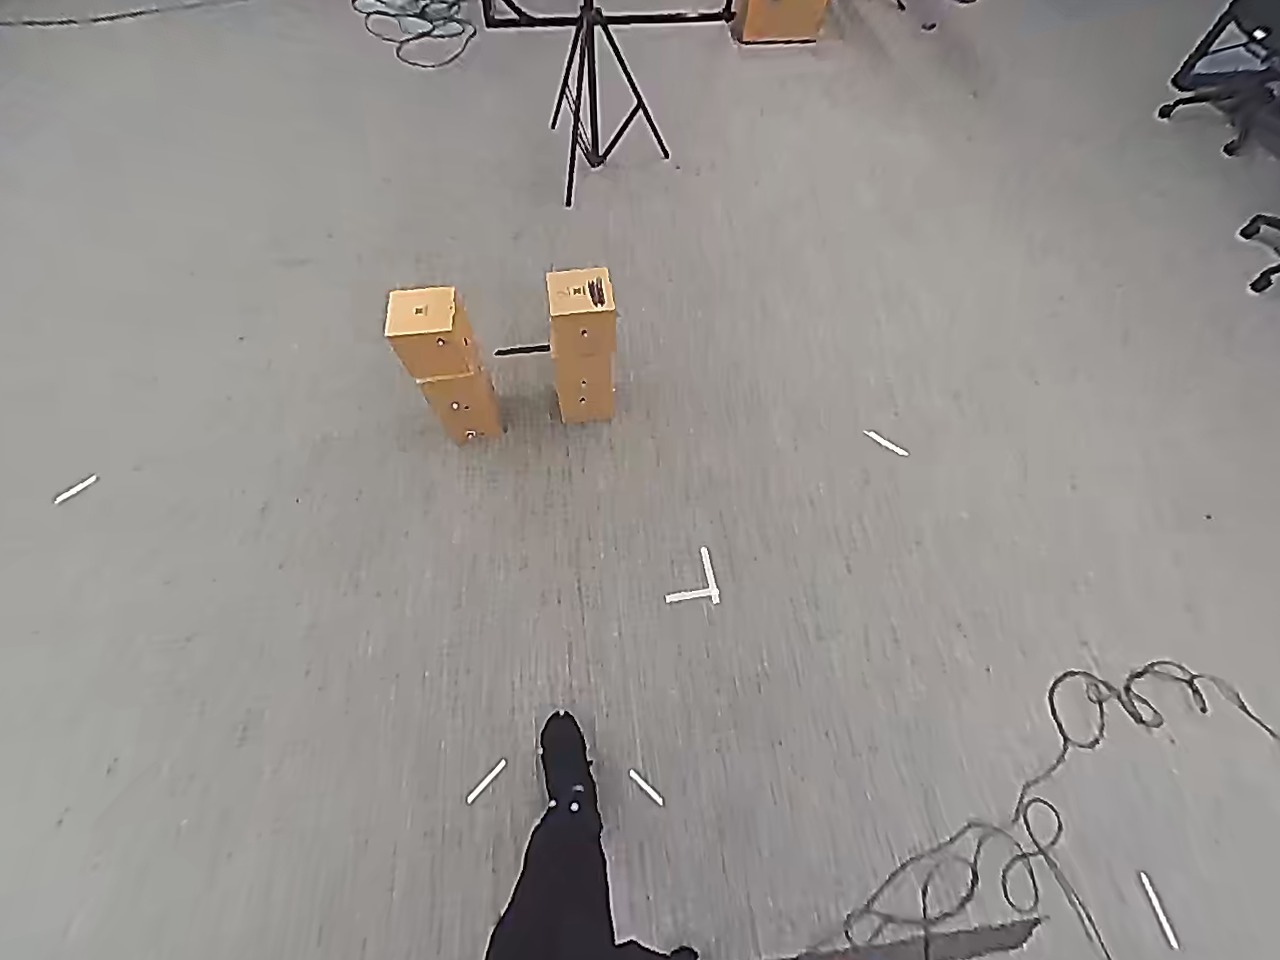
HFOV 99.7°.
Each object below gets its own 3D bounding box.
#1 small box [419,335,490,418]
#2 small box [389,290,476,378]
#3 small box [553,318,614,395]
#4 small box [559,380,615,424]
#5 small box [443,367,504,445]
[{"bbox_3d":[-0.557,-0.313,1.633,0.168,0.176,0.179,-10,63,-6],"label":"small box"},{"bbox_3d":[-0.567,-0.398,1.495,0.179,0.176,0.168,-5,62,-4],"label":"small box"},{"bbox_3d":[-0.175,-0.380,1.679,0.179,0.176,0.168,-3,61,-5],"label":"small box"},{"bbox_3d":[-0.179,-0.302,1.823,0.179,0.176,0.168,-5,63,-5],"label":"small box"},{"bbox_3d":[-0.554,-0.241,1.781,0.168,0.176,0.179,-11,63,-7],"label":"small box"}]
